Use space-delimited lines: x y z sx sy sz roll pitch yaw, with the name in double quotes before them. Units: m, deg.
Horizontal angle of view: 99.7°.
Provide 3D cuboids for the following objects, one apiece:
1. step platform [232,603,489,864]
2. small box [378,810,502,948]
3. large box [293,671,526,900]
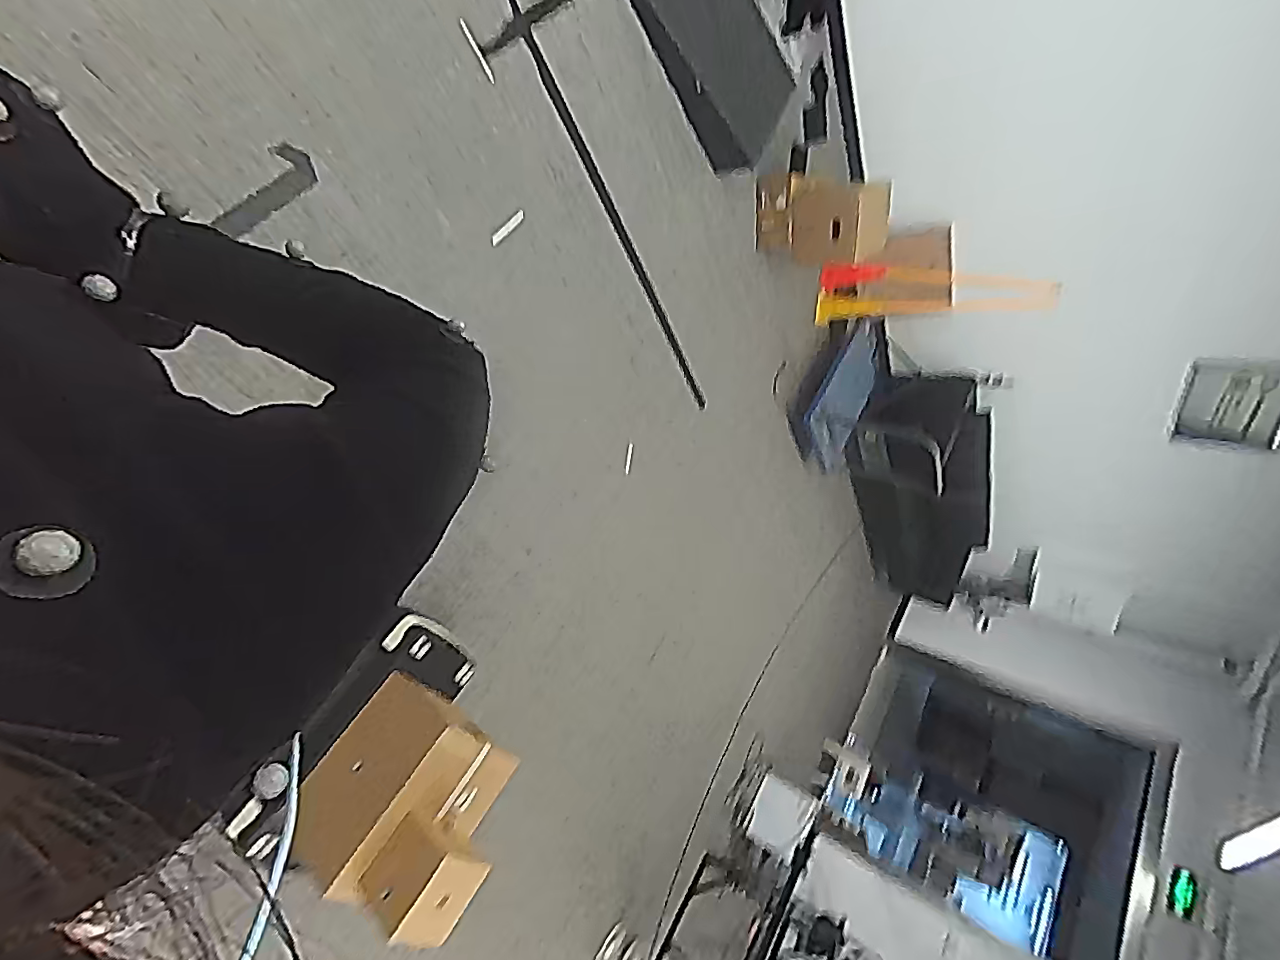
"step platform" -0.760 0.706 1.556 0.684 0.204 0.286 -52 135 -27
"small box" -0.454 0.890 1.213 0.179 0.176 0.168 -55 135 -24
"large box" -0.588 0.791 1.410 0.408 0.320 0.320 -56 137 -23
